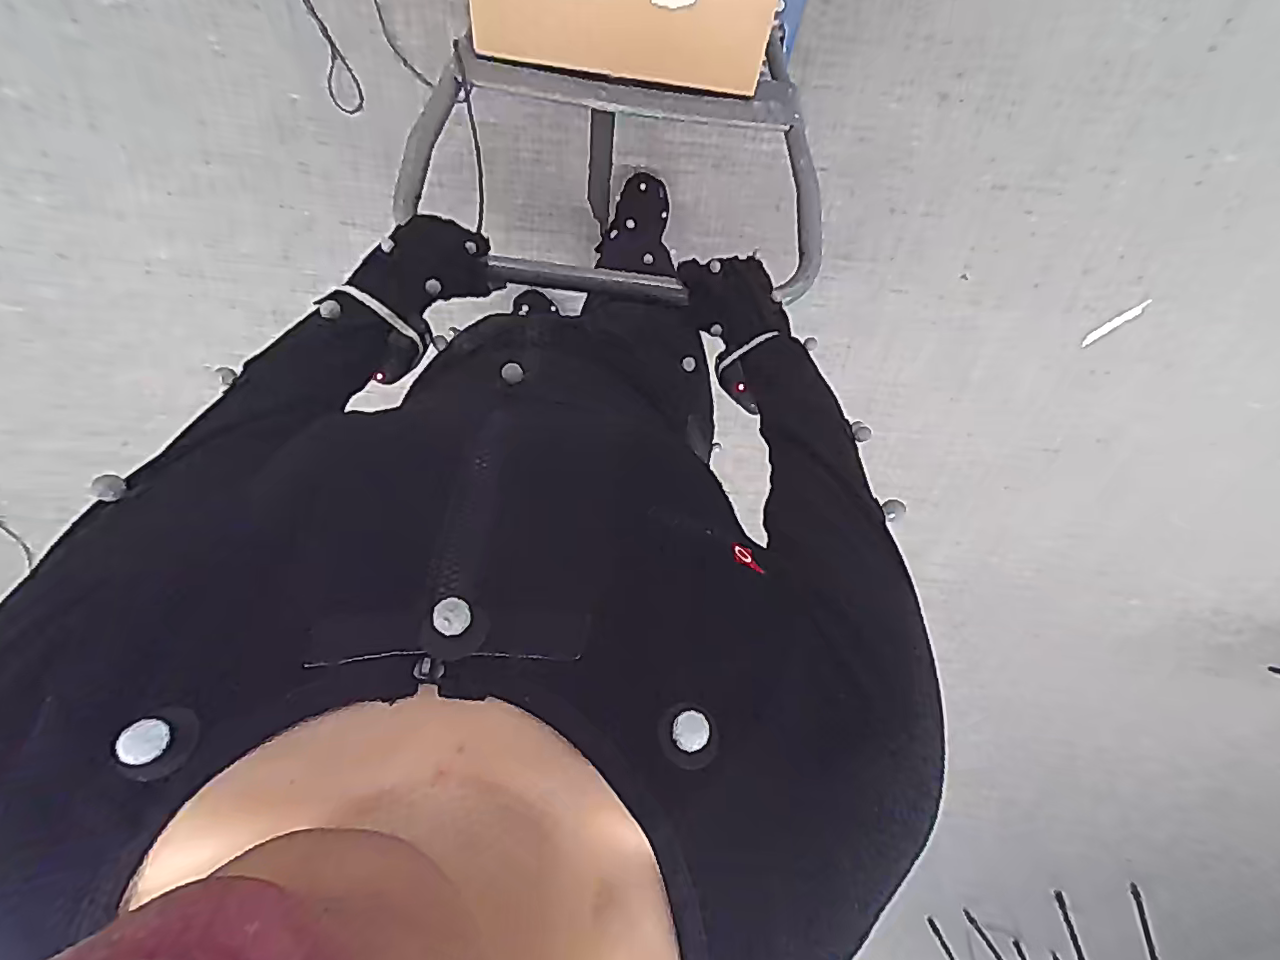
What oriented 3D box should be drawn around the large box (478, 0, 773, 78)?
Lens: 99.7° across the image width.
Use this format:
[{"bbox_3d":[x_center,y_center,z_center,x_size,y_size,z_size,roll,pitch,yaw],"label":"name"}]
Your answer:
[{"bbox_3d":[-0.010,-0.814,0.749,0.408,0.320,0.320,5,144,-5],"label":"large box"}]
